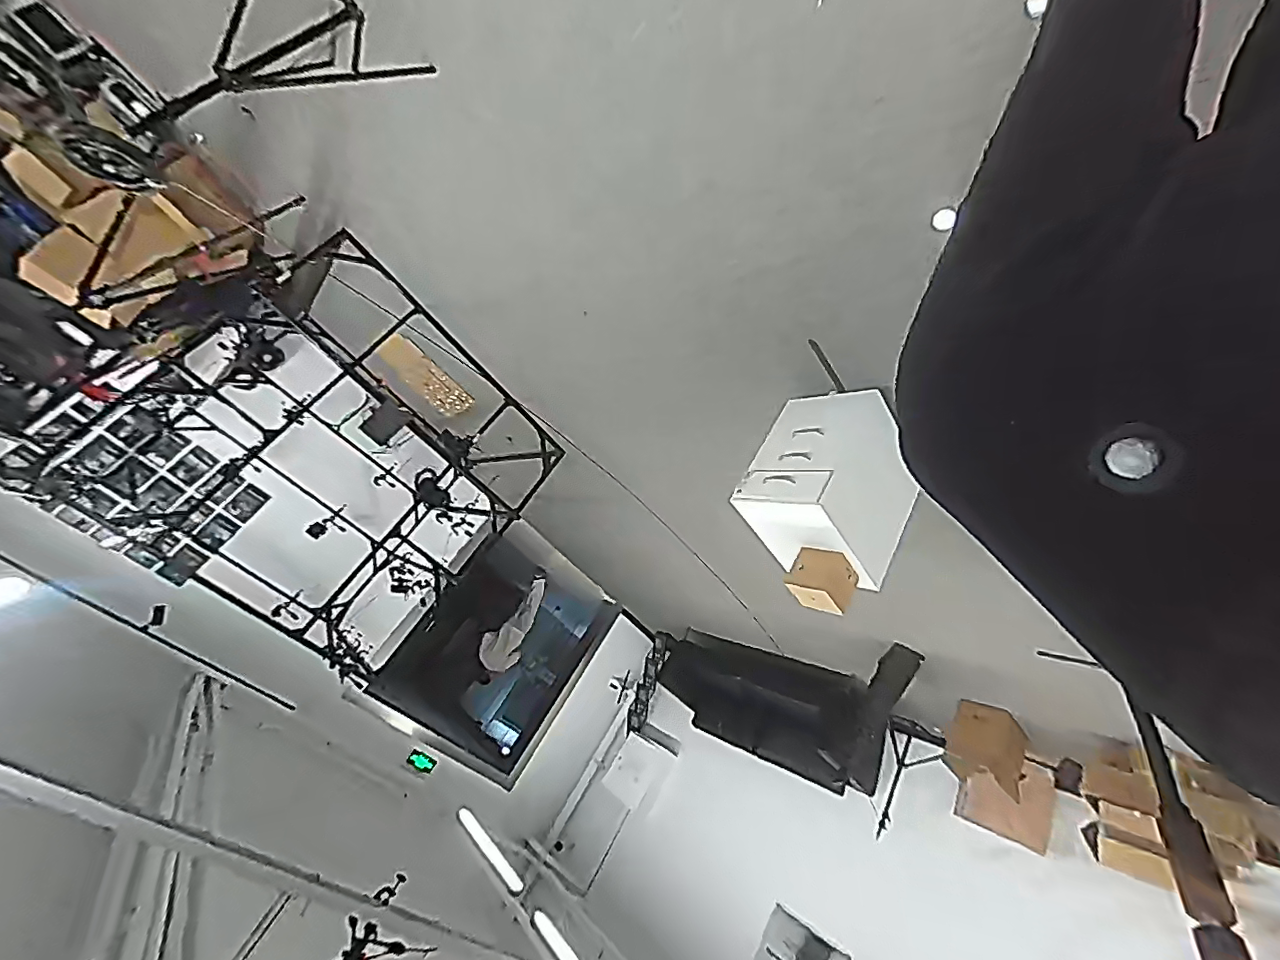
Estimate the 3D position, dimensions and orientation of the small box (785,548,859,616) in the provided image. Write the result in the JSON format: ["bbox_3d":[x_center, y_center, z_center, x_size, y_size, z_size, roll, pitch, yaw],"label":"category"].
[{"bbox_3d":[0.672,0.369,1.987,0.179,0.176,0.168,3,142,51],"label":"small box"}]
